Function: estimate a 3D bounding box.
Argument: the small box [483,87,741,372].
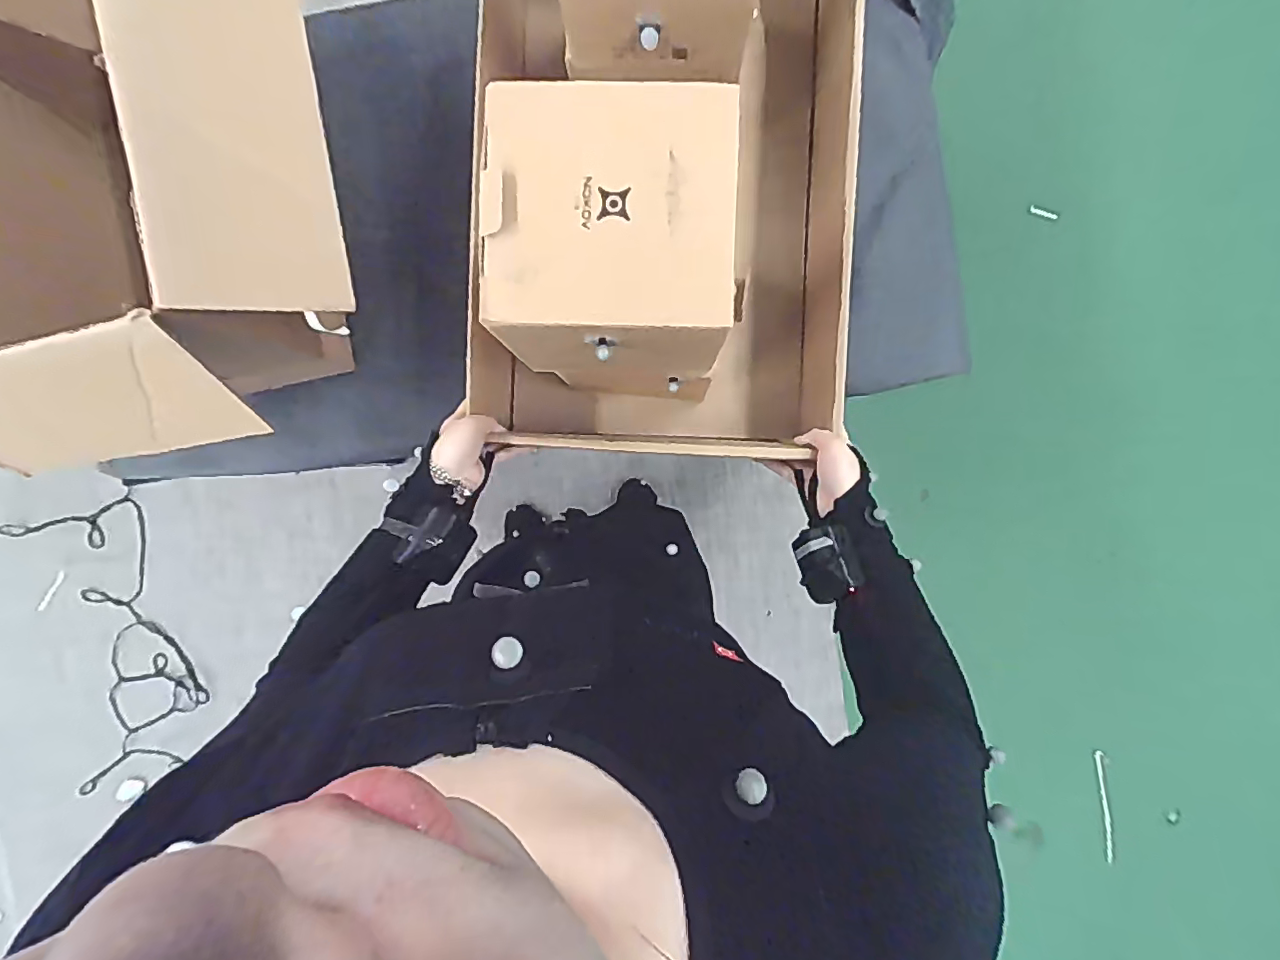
[{"bbox_3d":[-0.018,-0.188,0.453,0.179,0.176,0.168,2,92,1],"label":"small box"}]

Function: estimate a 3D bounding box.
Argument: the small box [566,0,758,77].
[{"bbox_3d":[0.020,-0.479,0.441,0.168,0.176,0.179,3,93,2],"label":"small box"}]
